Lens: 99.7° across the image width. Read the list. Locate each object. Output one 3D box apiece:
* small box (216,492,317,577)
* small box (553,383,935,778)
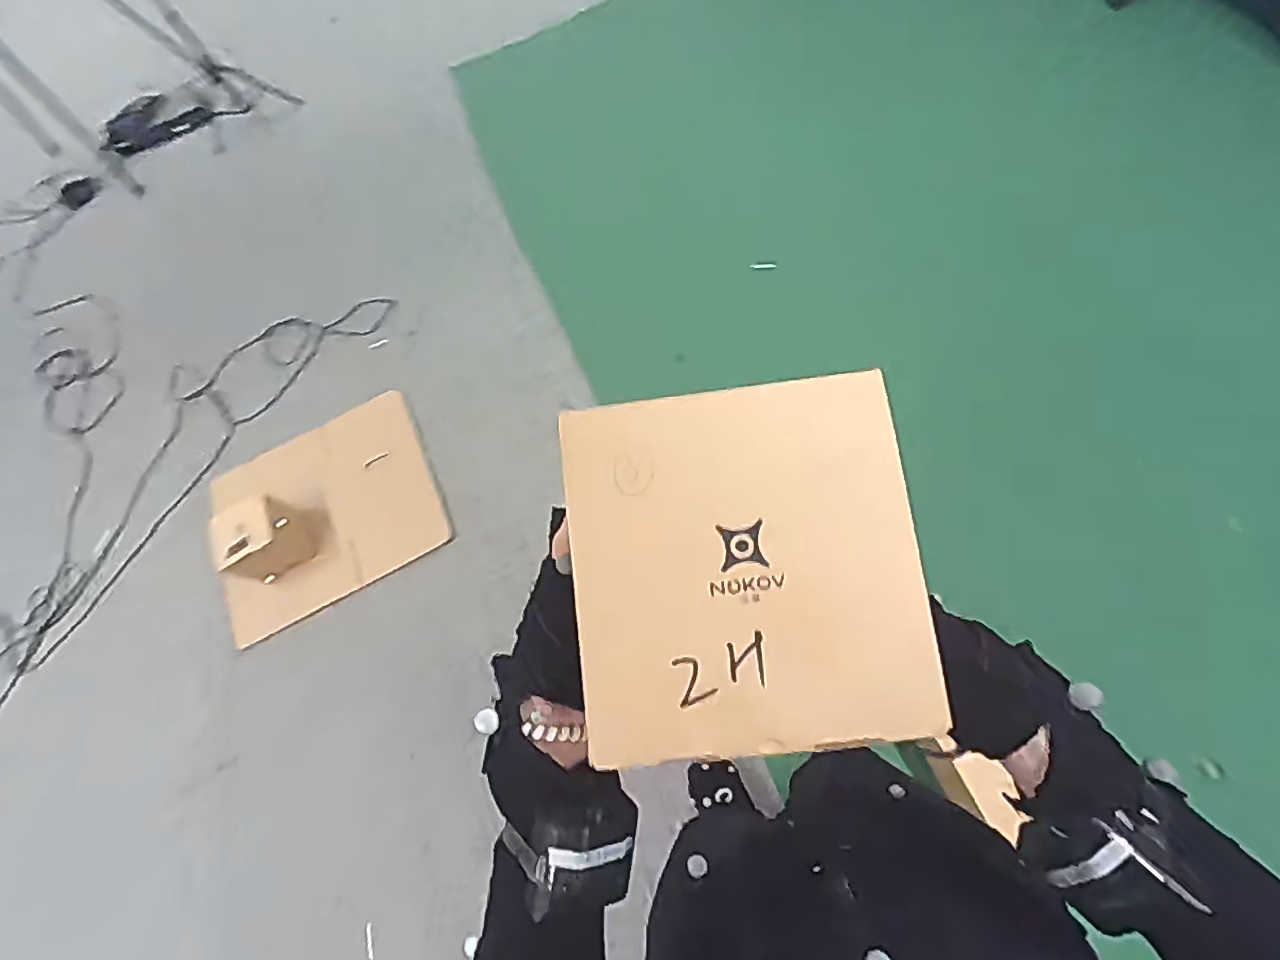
[{"bbox_3d":[-1.081,0.167,1.577,0.168,0.176,0.179,-29,66,-3],"label":"small box"},{"bbox_3d":[0.049,0.057,0.340,0.168,0.176,0.179,-8,81,3],"label":"small box"}]
